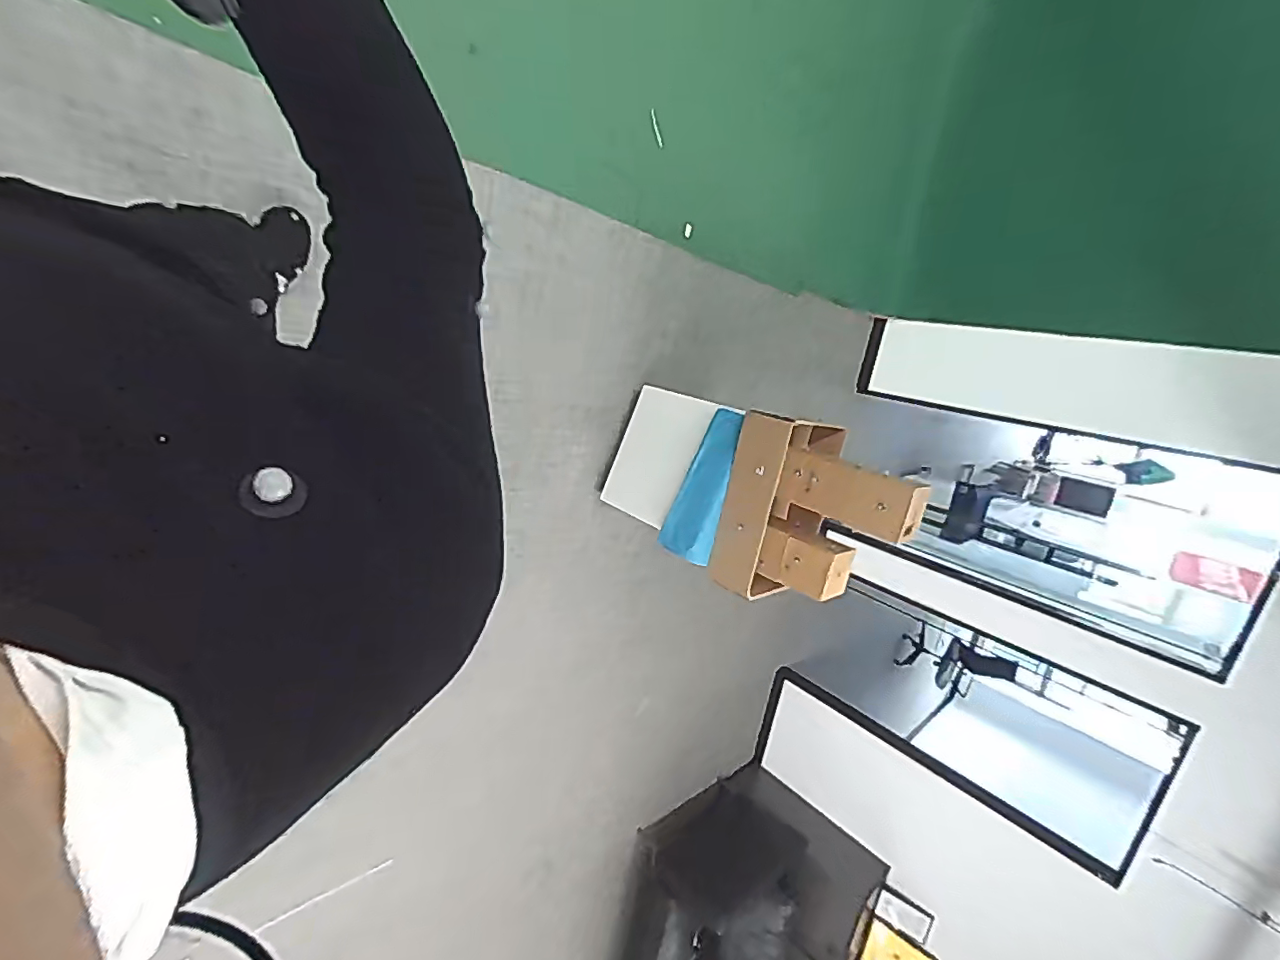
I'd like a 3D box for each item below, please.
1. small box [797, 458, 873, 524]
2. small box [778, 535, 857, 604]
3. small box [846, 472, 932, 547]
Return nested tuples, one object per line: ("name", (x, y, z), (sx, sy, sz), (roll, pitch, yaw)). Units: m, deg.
("small box", (0.637, 0.031, 1.740), (0.179, 0.176, 0.168), (0, 108, -46))
("small box", (0.590, 0.290, 1.806), (0.179, 0.176, 0.168), (0, 107, -46))
("small box", (0.745, 0.085, 1.629), (0.168, 0.176, 0.179), (-2, 108, -46))
